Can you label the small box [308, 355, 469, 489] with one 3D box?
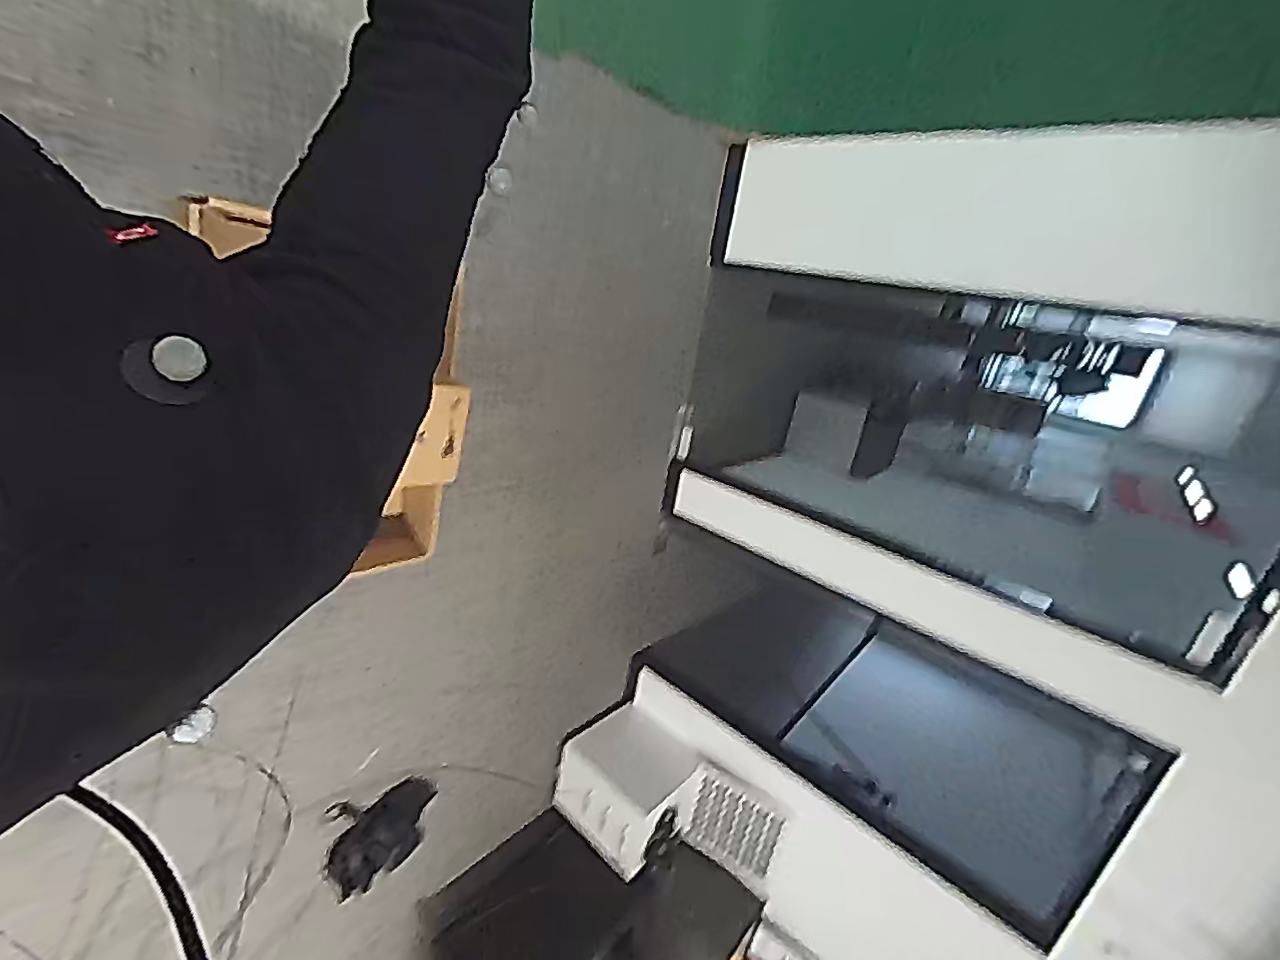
[{"bbox_3d":[-0.408,-0.096,0.867,0.179,0.176,0.168,-6,117,-50],"label":"small box"}]
